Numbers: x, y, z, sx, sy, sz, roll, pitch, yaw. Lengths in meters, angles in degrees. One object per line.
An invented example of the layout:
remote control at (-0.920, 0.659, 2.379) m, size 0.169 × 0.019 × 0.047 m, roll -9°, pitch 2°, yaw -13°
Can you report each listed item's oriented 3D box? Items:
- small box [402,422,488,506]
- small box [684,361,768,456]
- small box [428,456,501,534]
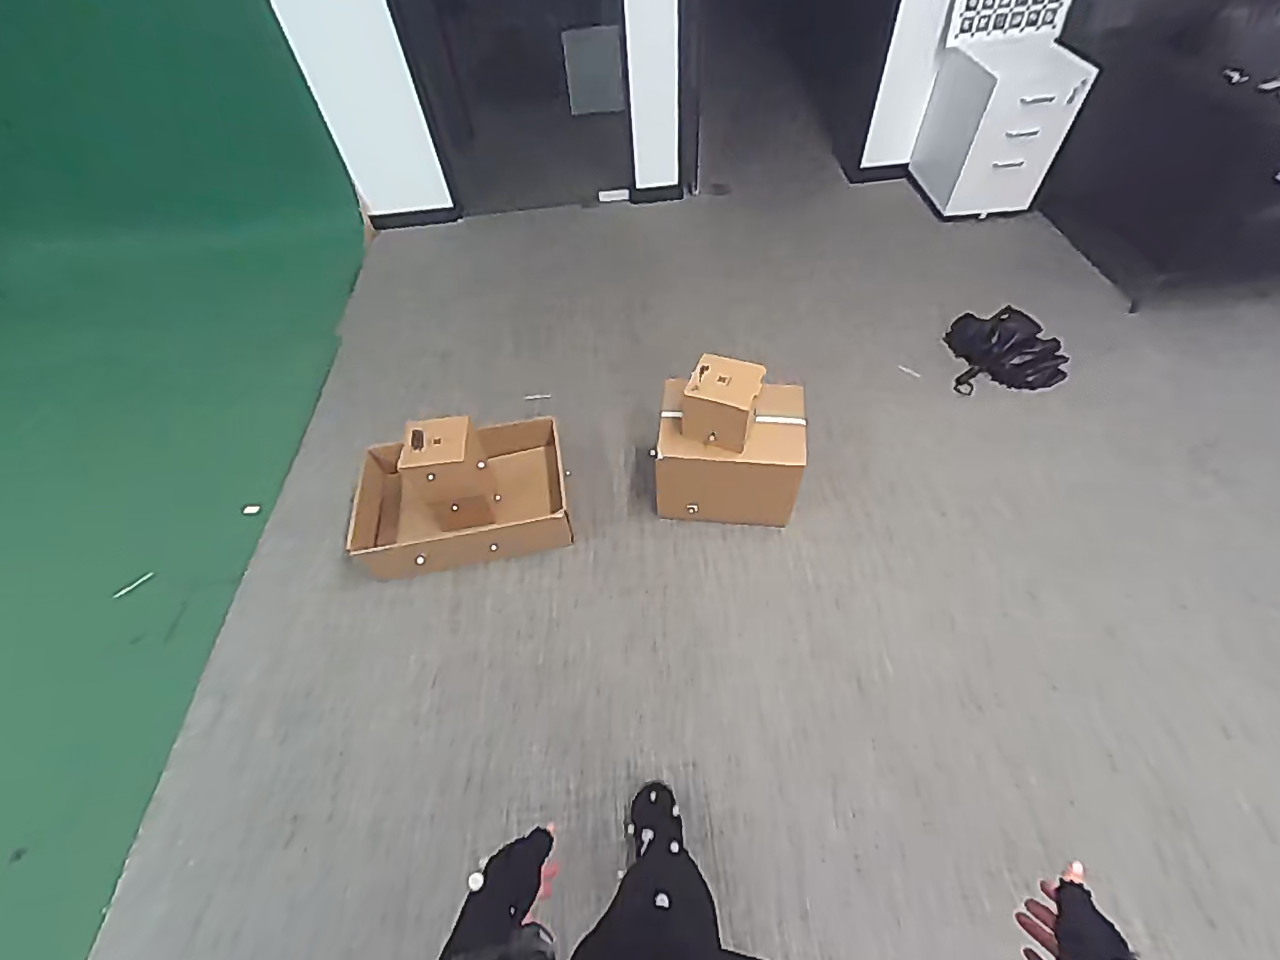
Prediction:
small box at (-0.543, -0.040, 1.531) m, size 0.179 × 0.176 × 0.168 m, roll -6°, pitch 53°, yaw -2°
small box at (0.228, -0.189, 1.463) m, size 0.179 × 0.176 × 0.168 m, roll 18°, pitch 56°, yaw 15°
small box at (-0.538, 0.050, 1.669) m, size 0.179 × 0.176 × 0.168 m, roll -9°, pitch 53°, yaw -4°
